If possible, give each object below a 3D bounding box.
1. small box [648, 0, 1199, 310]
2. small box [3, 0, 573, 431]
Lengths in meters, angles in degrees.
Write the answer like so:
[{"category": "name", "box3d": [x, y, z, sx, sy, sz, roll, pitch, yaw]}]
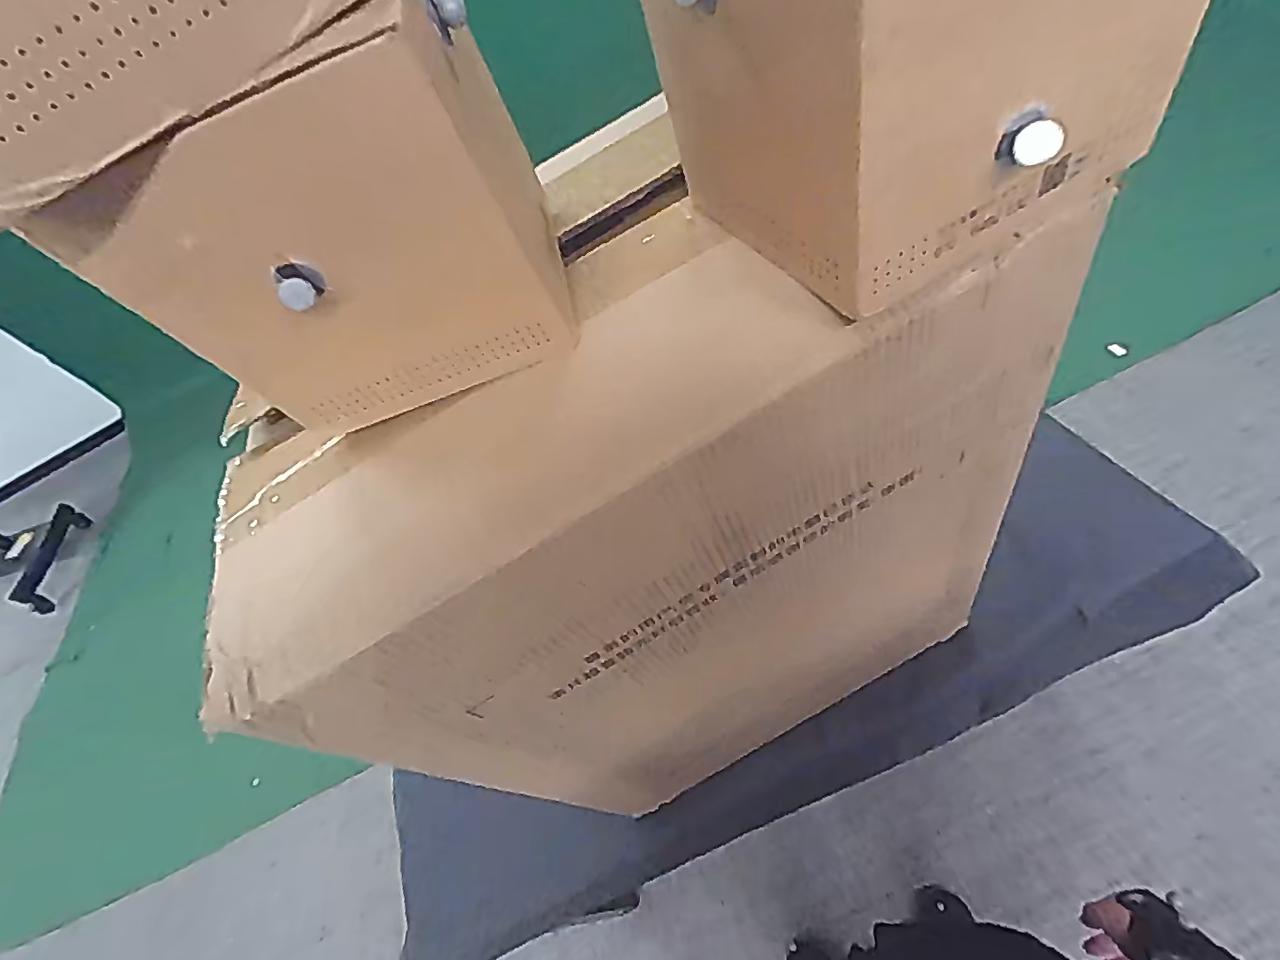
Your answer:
[{"category": "small box", "box3d": [0.111, -0.213, 0.250, 0.168, 0.176, 0.179, -30, 51, -1]}, {"category": "small box", "box3d": [-0.158, -0.152, 0.303, 0.179, 0.176, 0.168, -19, 60, 8]}]
